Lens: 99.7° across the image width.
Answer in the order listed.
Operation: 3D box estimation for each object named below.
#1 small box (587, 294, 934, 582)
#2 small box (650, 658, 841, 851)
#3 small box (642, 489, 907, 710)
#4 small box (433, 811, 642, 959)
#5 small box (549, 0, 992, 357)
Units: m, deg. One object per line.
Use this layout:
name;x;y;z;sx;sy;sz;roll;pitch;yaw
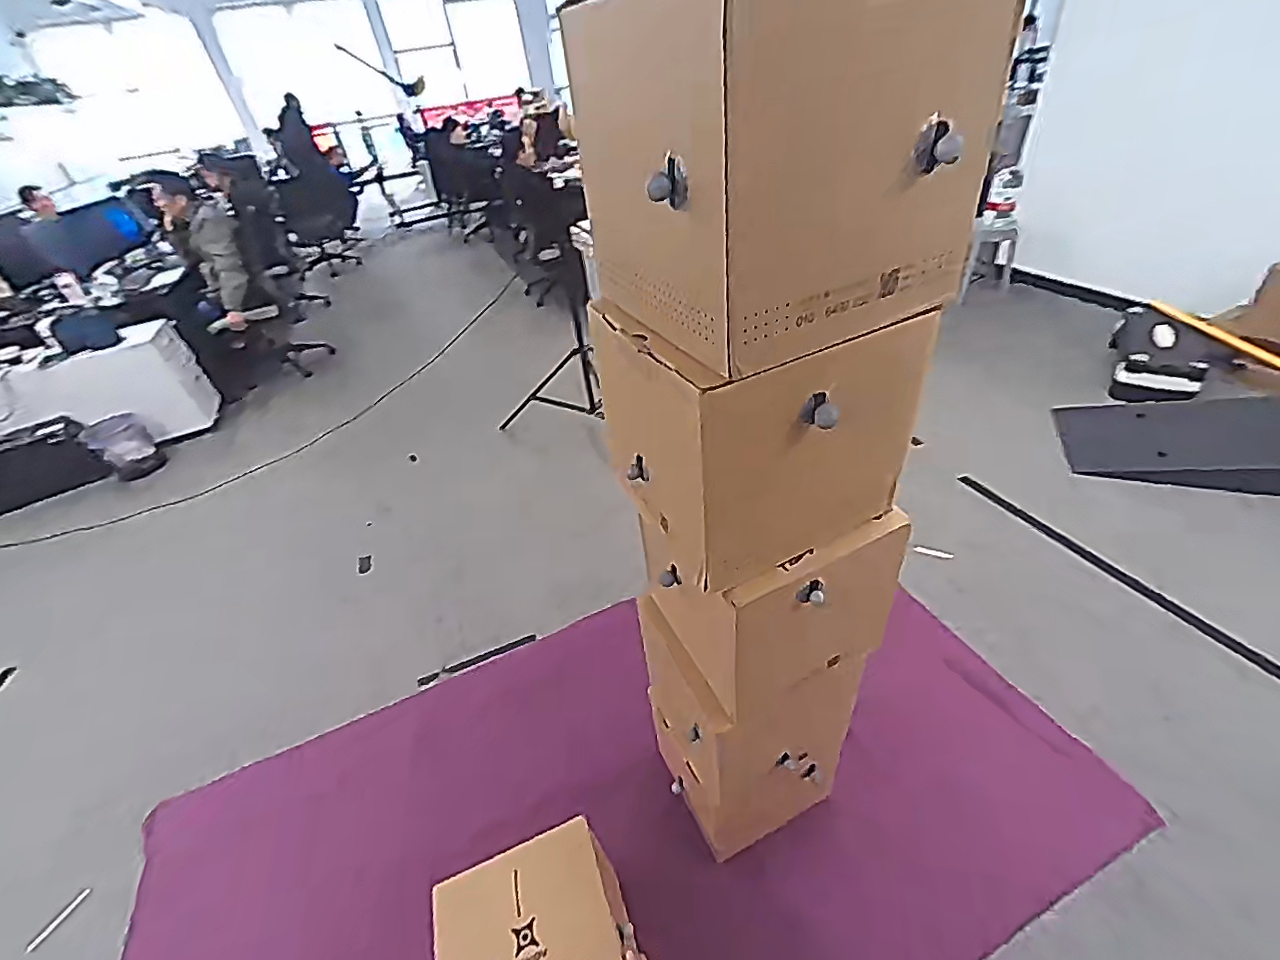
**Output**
small box;0.079;-0.057;0.415;0.179;0.176;0.168;-22;40;-16
small box;0.131;0.335;0.705;0.179;0.176;0.168;-22;39;-15
small box;0.109;0.074;0.508;0.168;0.176;0.179;-22;40;-16
small box;-0.092;0.487;0.545;0.168;0.176;0.179;-21;37;-11
small box;0.066;-0.188;0.319;0.168;0.176;0.179;-22;39;-18
